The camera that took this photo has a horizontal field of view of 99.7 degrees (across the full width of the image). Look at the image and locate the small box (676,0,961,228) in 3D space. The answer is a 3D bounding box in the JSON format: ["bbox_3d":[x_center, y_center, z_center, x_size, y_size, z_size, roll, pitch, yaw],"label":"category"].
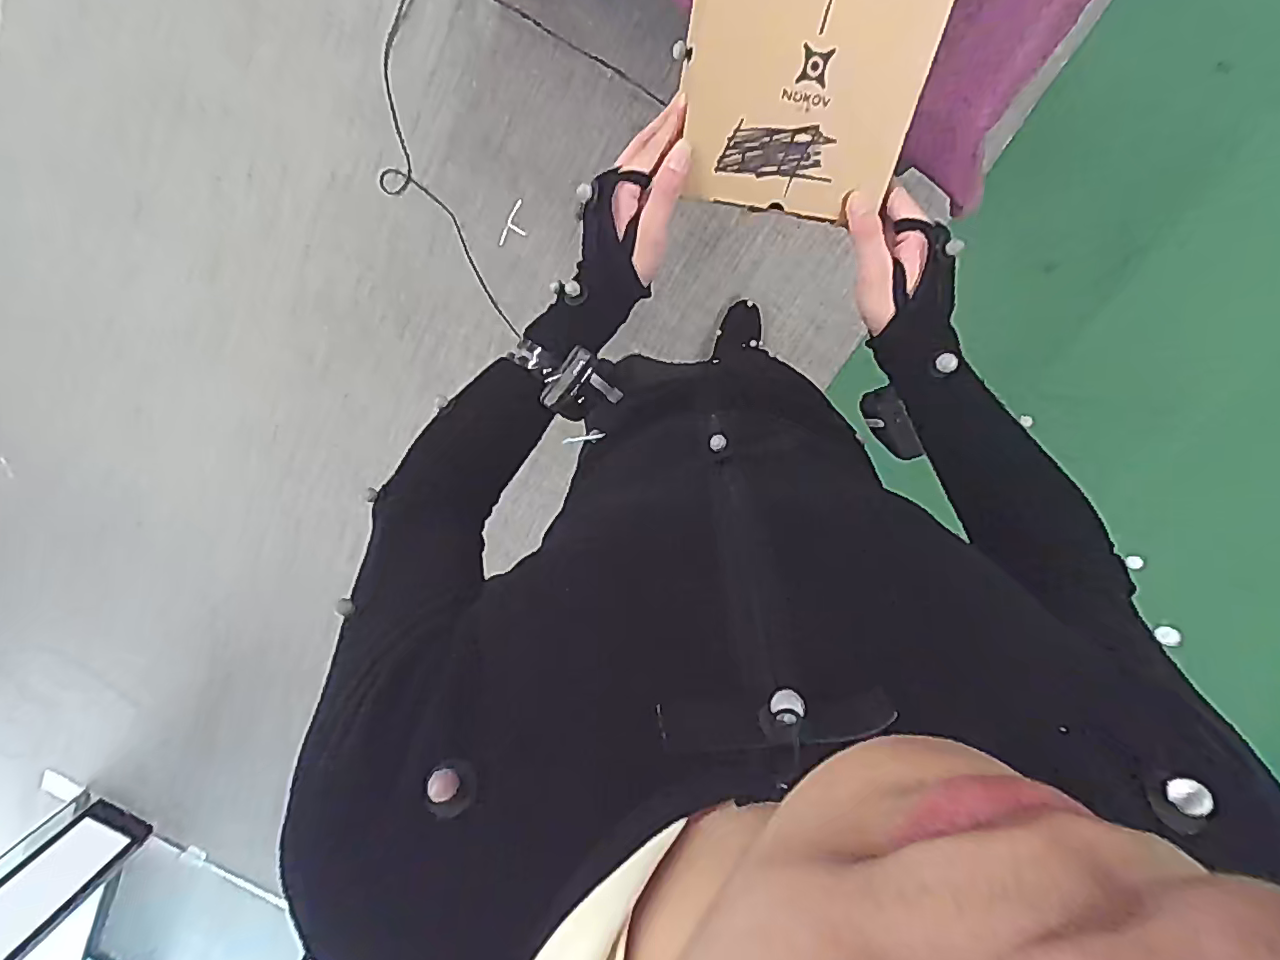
[{"bbox_3d":[0.125,-0.329,0.448,0.168,0.176,0.179,7,124,-4],"label":"small box"}]
